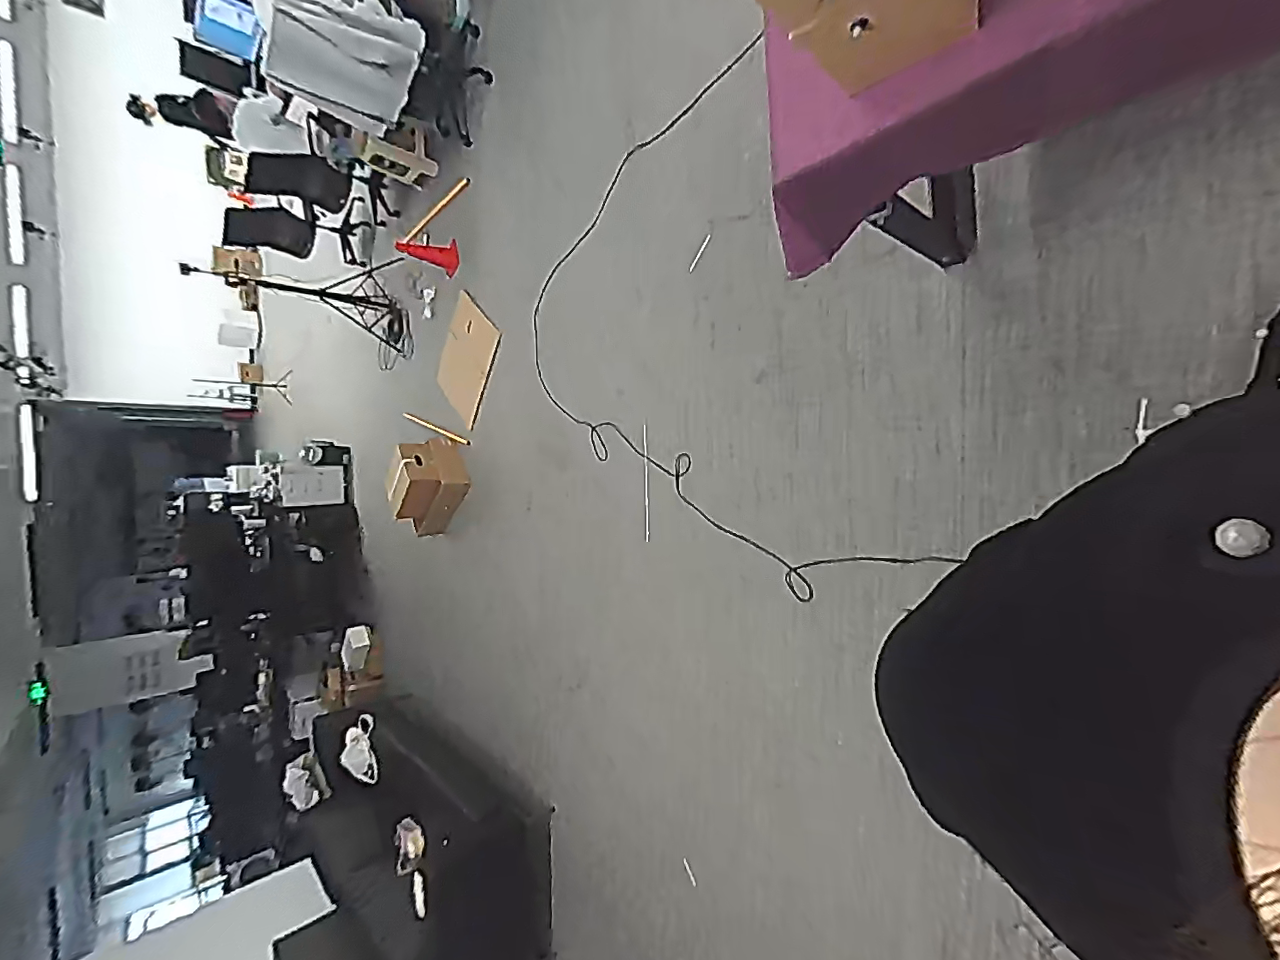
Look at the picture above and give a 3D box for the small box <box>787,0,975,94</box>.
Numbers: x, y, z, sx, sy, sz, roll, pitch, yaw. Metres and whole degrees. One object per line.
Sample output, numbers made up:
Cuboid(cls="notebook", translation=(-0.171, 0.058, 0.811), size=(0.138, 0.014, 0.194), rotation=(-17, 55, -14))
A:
Cuboid(cls="small box", translation=(0.311, -0.650, 0.699), size=(0.179, 0.176, 0.168), rotation=(3, 94, 47))
